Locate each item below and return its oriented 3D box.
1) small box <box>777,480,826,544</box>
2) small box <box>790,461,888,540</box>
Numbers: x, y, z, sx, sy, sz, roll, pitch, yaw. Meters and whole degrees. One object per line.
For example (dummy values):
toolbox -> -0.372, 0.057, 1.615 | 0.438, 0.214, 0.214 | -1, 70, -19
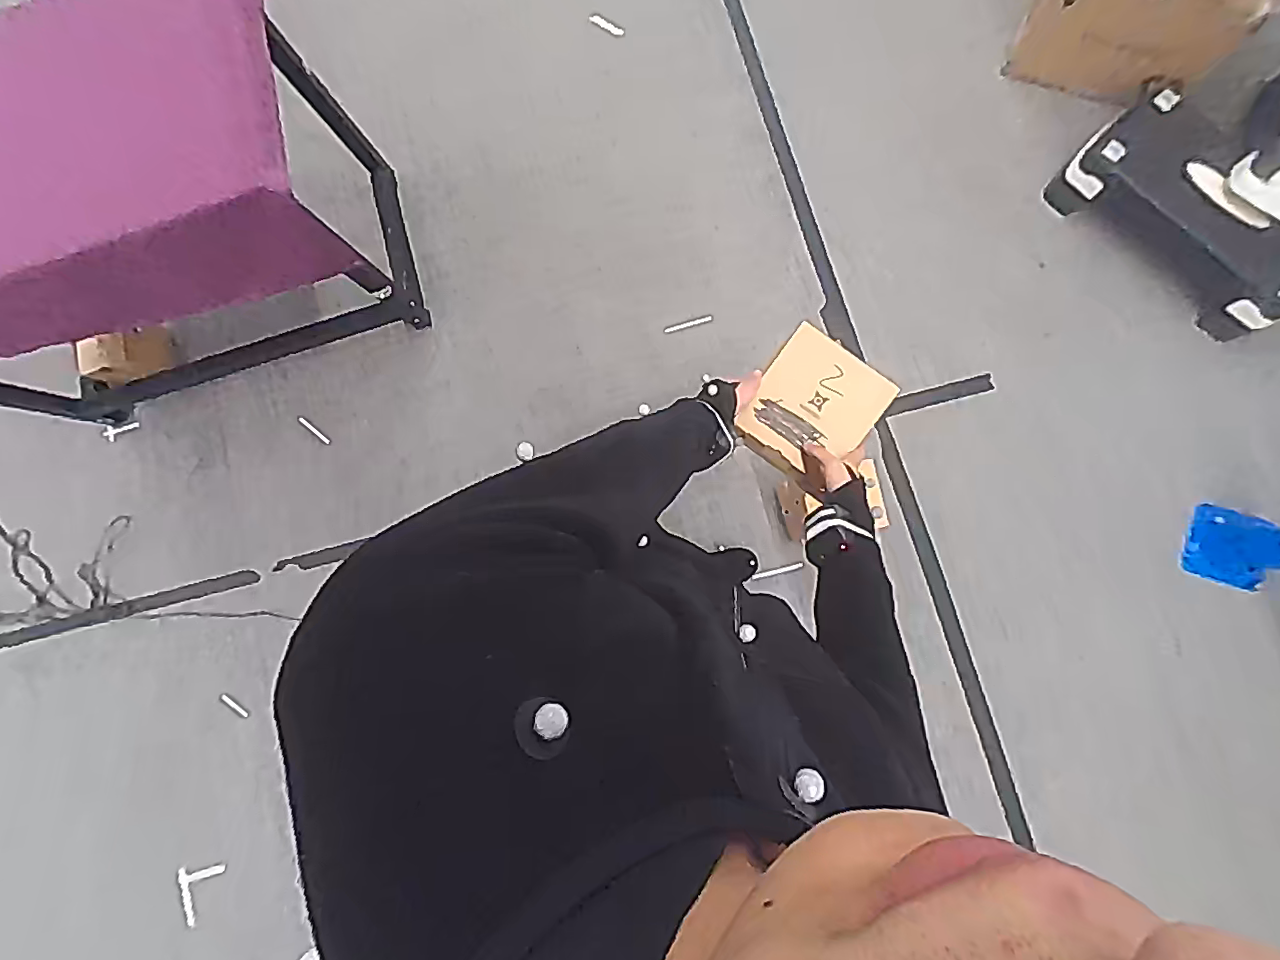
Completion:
small box -> 0.498, 0.074, 1.522 | 0.168, 0.176, 0.179 | -16, 83, 4
small box -> 0.492, 0.052, 1.360 | 0.179, 0.176, 0.168 | -12, 84, 5
